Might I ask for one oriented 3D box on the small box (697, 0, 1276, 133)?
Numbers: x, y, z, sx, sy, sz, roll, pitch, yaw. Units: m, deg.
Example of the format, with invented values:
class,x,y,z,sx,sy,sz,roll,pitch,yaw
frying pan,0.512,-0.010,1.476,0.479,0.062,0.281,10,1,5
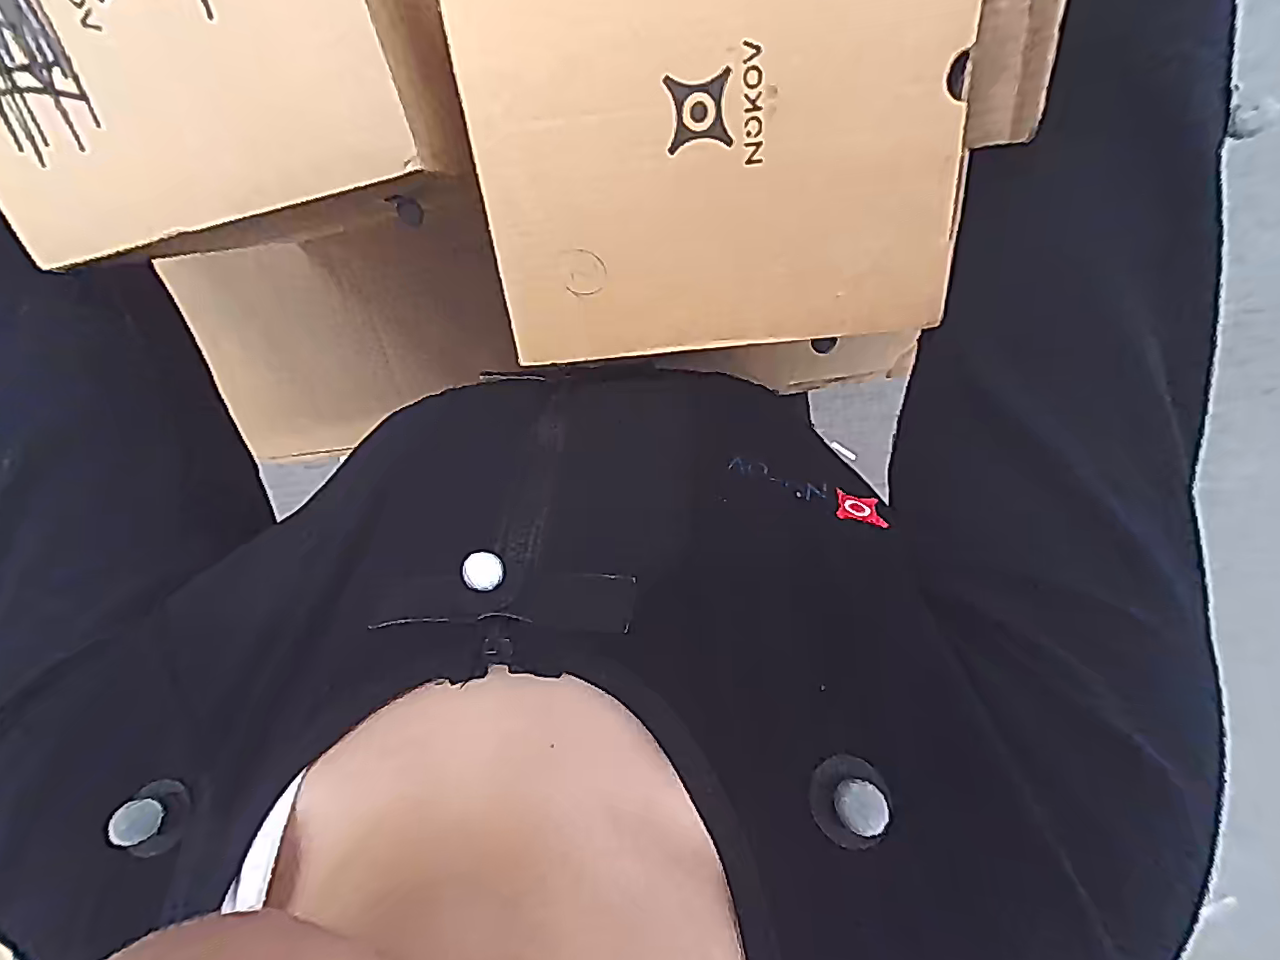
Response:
class,x,y,z,sx,sy,sz,roll,pitch,yaw
small box,0.119,-0.236,0.196,0.179,0.176,0.168,8,125,-1
